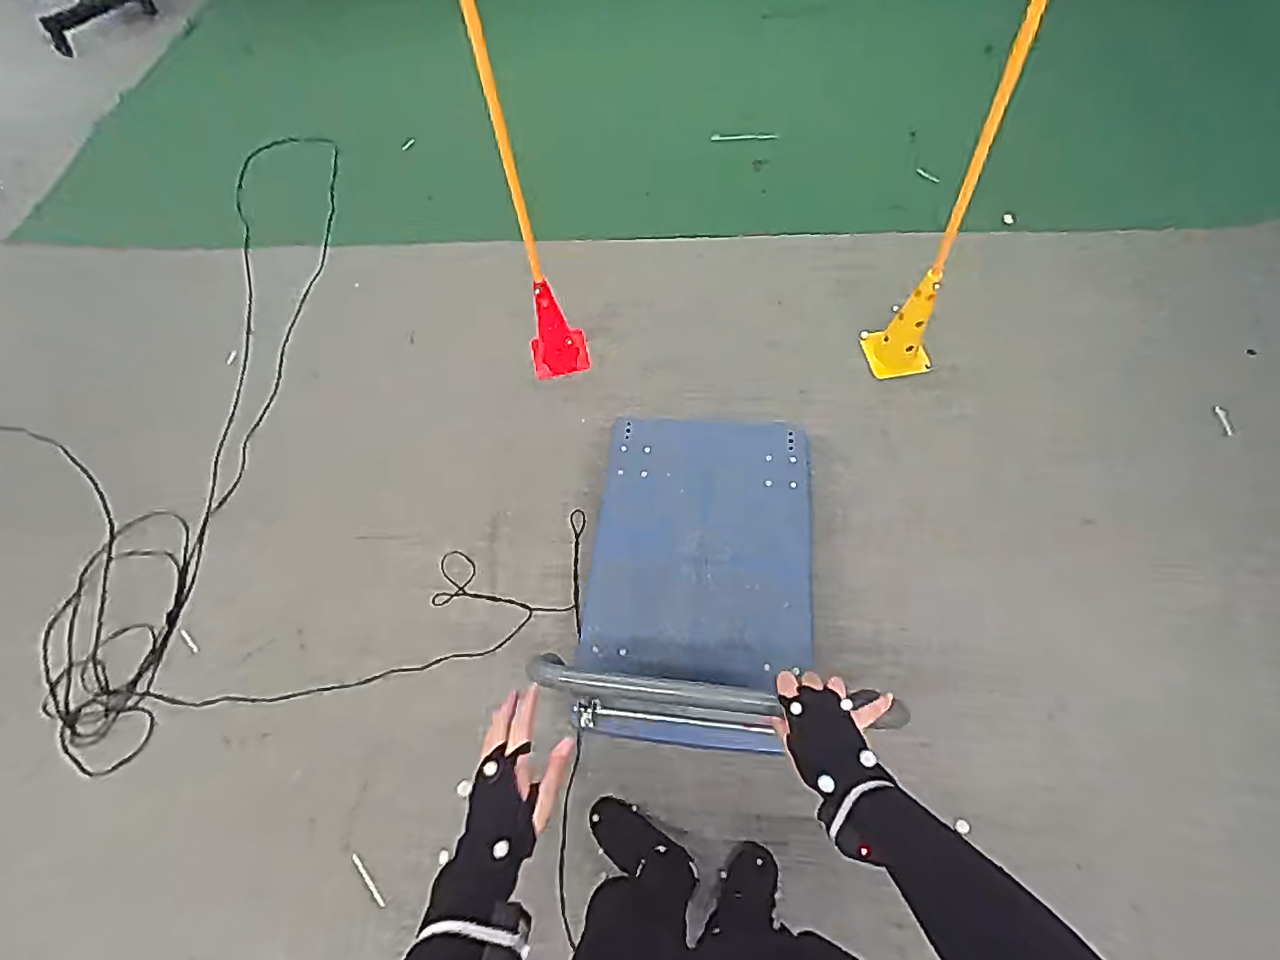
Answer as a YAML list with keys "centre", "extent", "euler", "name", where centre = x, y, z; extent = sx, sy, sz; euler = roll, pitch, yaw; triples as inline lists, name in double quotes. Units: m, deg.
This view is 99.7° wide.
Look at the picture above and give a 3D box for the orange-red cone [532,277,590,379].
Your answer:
- centre: [-0.304, -0.536, 1.832]
  extent: [0.199, 0.360, 0.198]
  euler: [-13, 63, -1]
  name: "orange-red cone"
